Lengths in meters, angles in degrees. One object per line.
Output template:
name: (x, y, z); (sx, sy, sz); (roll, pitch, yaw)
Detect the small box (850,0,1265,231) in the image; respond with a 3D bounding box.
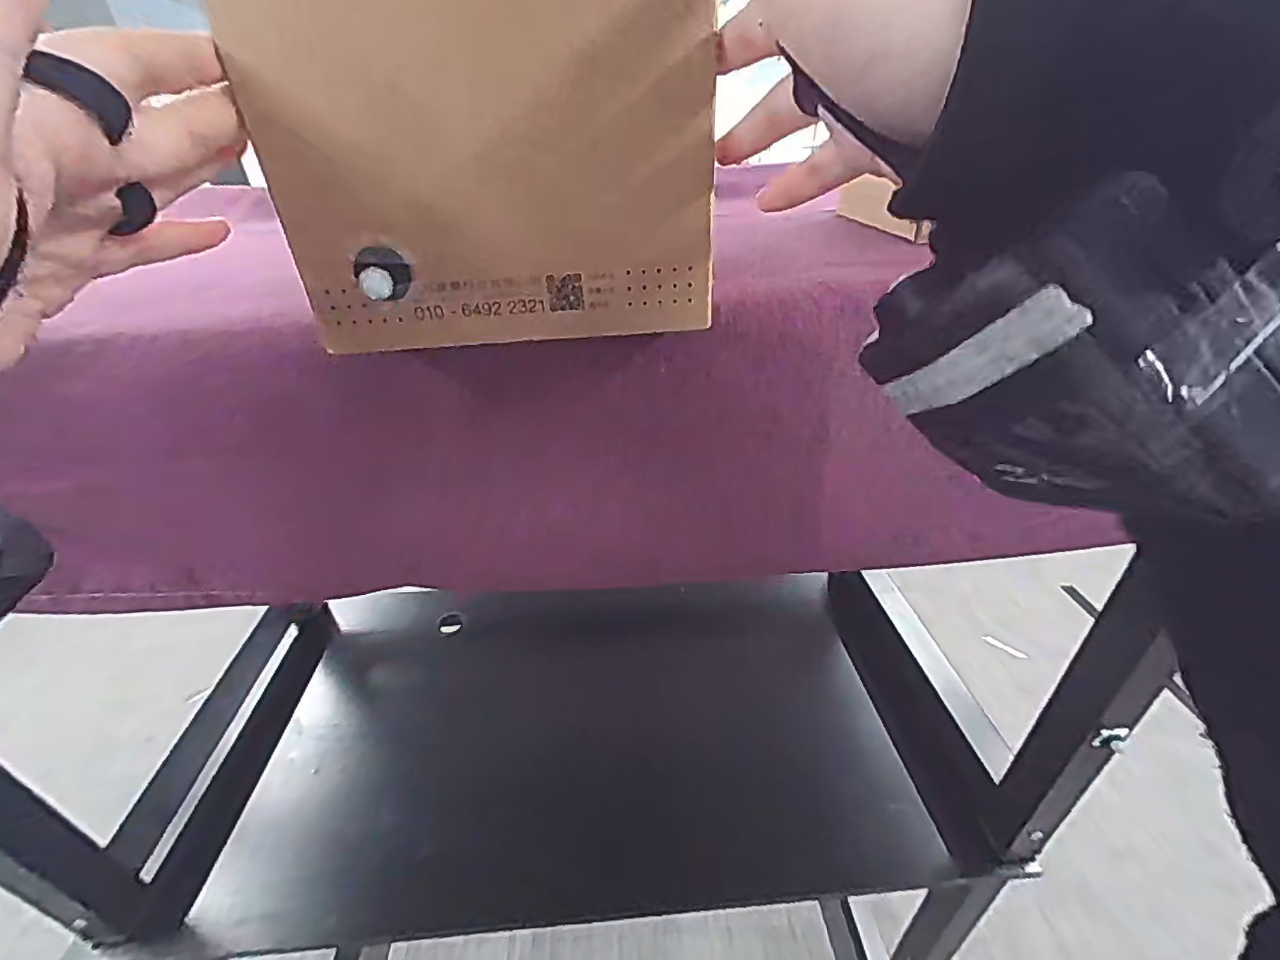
small box: (0.267, -0.281, 0.389); (0.168, 0.176, 0.179); (-3, 32, 1)

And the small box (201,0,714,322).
small box: (-0.059, -0.175, 0.249); (0.168, 0.176, 0.179); (-4, 32, -2)
